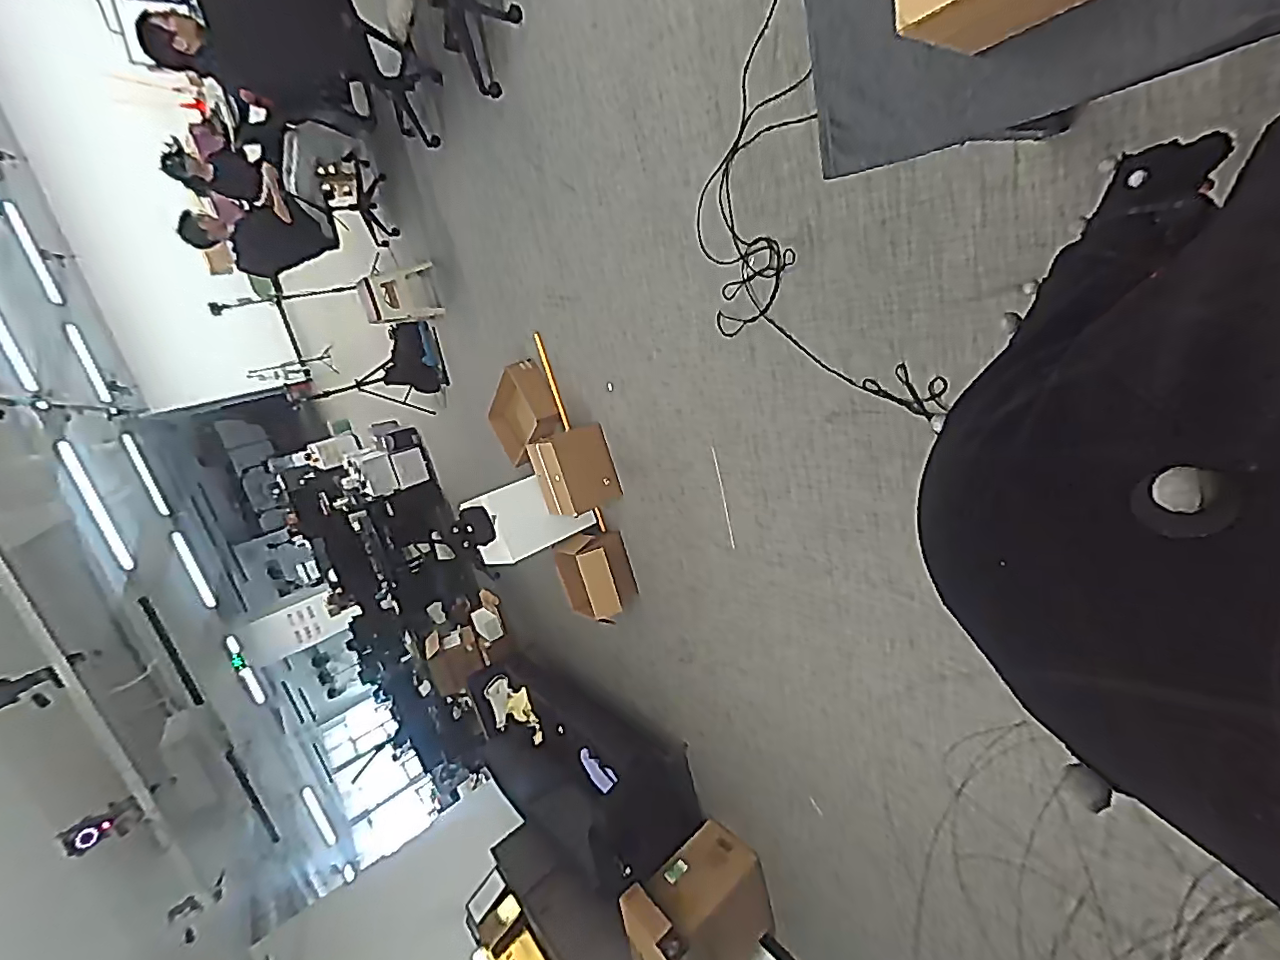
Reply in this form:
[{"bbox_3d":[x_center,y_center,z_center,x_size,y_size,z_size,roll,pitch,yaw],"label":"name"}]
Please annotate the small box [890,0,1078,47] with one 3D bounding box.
[{"bbox_3d":[0.332,-0.510,0.458,0.179,0.176,0.168,9,116,52],"label":"small box"}]
